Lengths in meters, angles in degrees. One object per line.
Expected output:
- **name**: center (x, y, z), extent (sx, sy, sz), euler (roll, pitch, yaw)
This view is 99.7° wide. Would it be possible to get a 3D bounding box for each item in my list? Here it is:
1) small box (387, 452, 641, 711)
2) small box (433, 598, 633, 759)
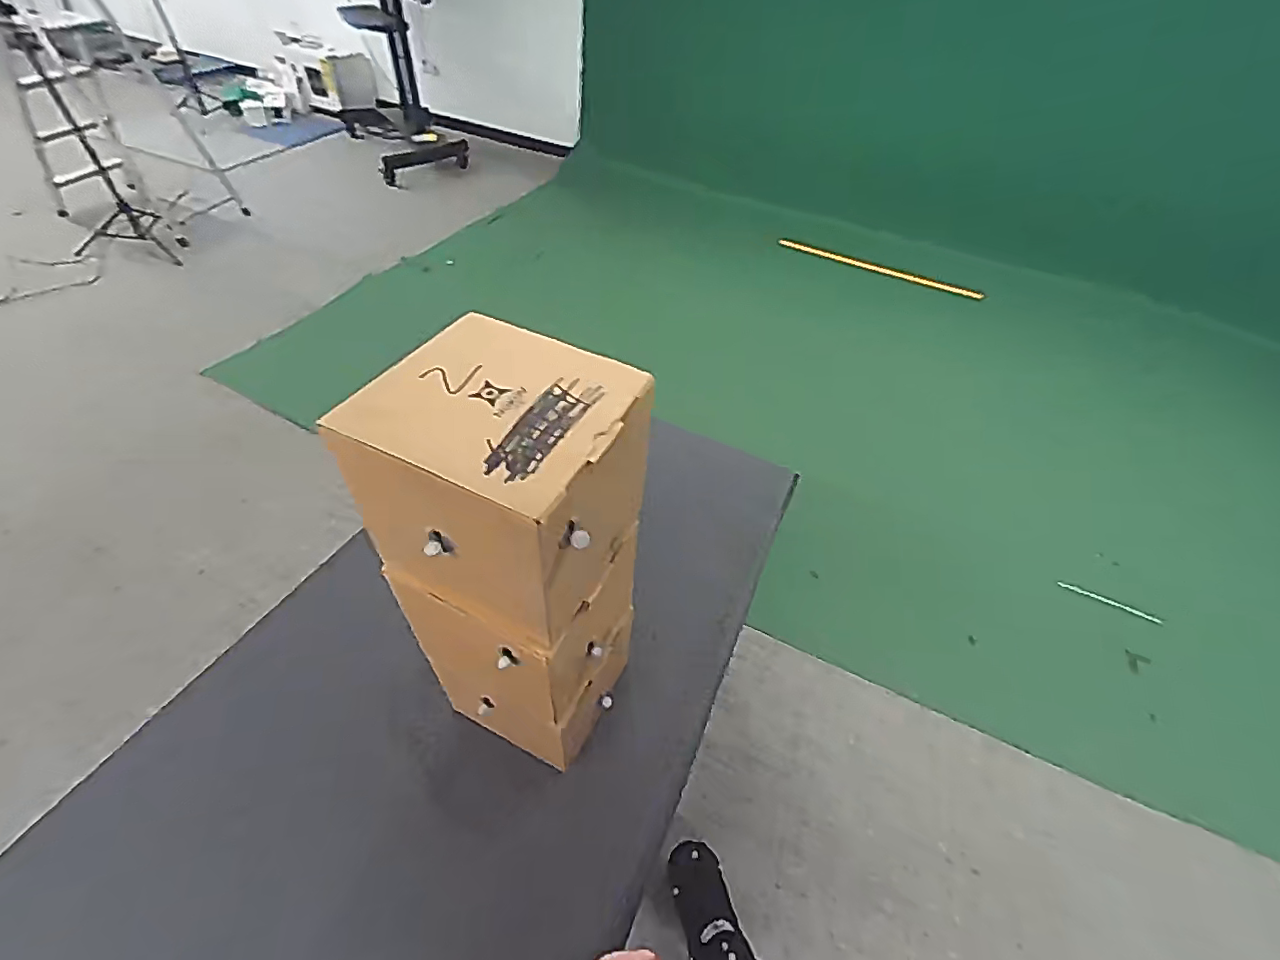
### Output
- **small box**: center (-0.118, 0.107, 0.558), extent (0.179, 0.176, 0.168), euler (24, 50, 14)
- **small box**: center (-0.127, 0.217, 0.677), extent (0.179, 0.176, 0.168), euler (24, 51, 14)
